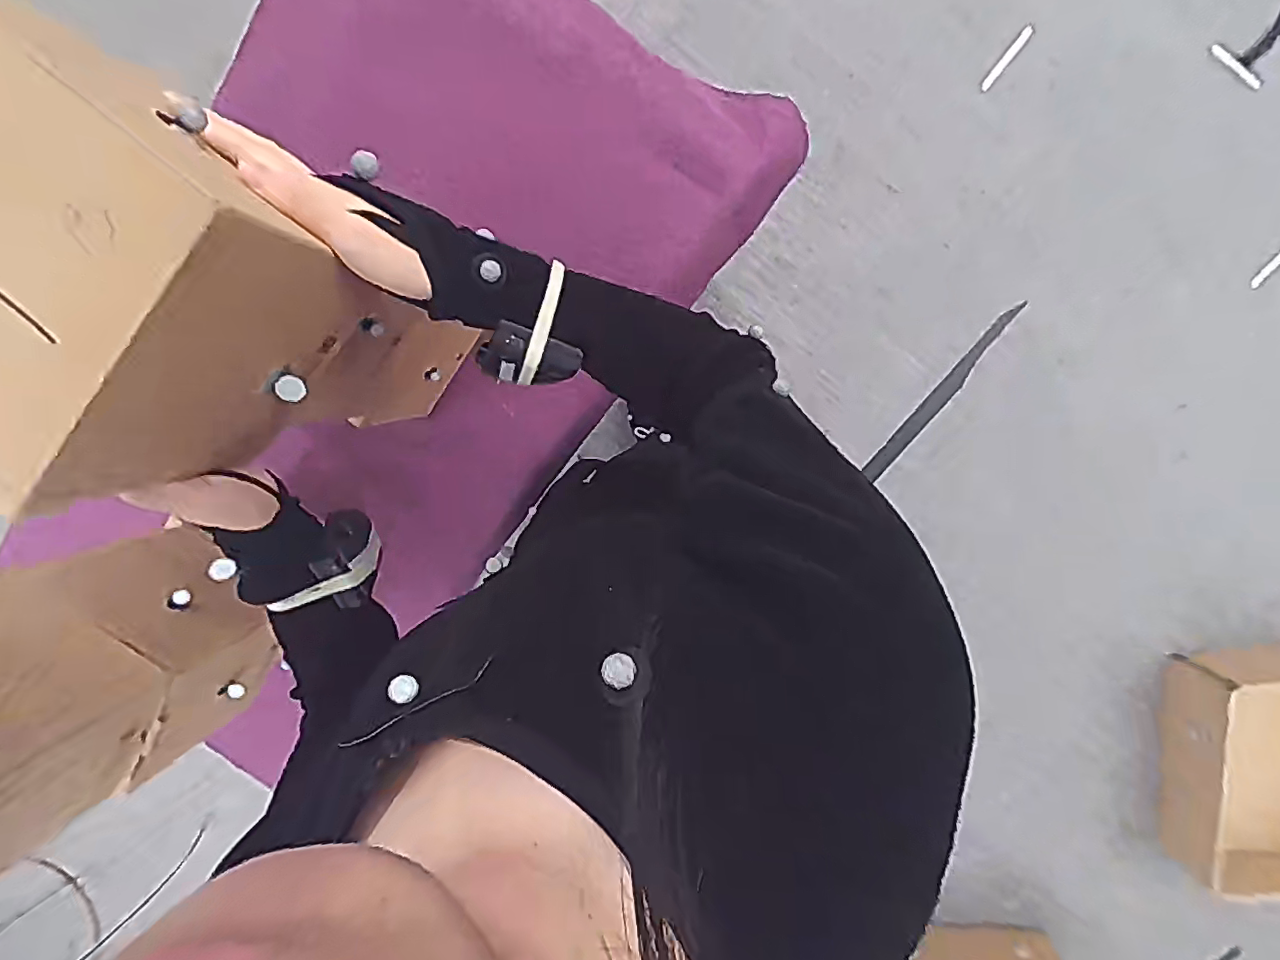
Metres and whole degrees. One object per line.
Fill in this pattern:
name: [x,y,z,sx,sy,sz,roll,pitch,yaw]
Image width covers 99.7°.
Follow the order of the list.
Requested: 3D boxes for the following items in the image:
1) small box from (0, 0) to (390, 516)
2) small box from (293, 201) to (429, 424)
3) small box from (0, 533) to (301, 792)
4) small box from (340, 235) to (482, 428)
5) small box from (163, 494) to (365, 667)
small box: [-0.275,-0.113,0.283,0.179,0.176,0.168,40,98,-11]
small box: [-0.335,-0.167,0.501,0.179,0.176,0.168,38,101,-3]
small box: [-0.519,0.180,0.586,0.179,0.176,0.168,31,102,-2]
small box: [-0.325,-0.186,0.662,0.179,0.176,0.168,37,101,-3]
small box: [-0.525,0.139,0.746,0.179,0.176,0.168,36,102,-2]
